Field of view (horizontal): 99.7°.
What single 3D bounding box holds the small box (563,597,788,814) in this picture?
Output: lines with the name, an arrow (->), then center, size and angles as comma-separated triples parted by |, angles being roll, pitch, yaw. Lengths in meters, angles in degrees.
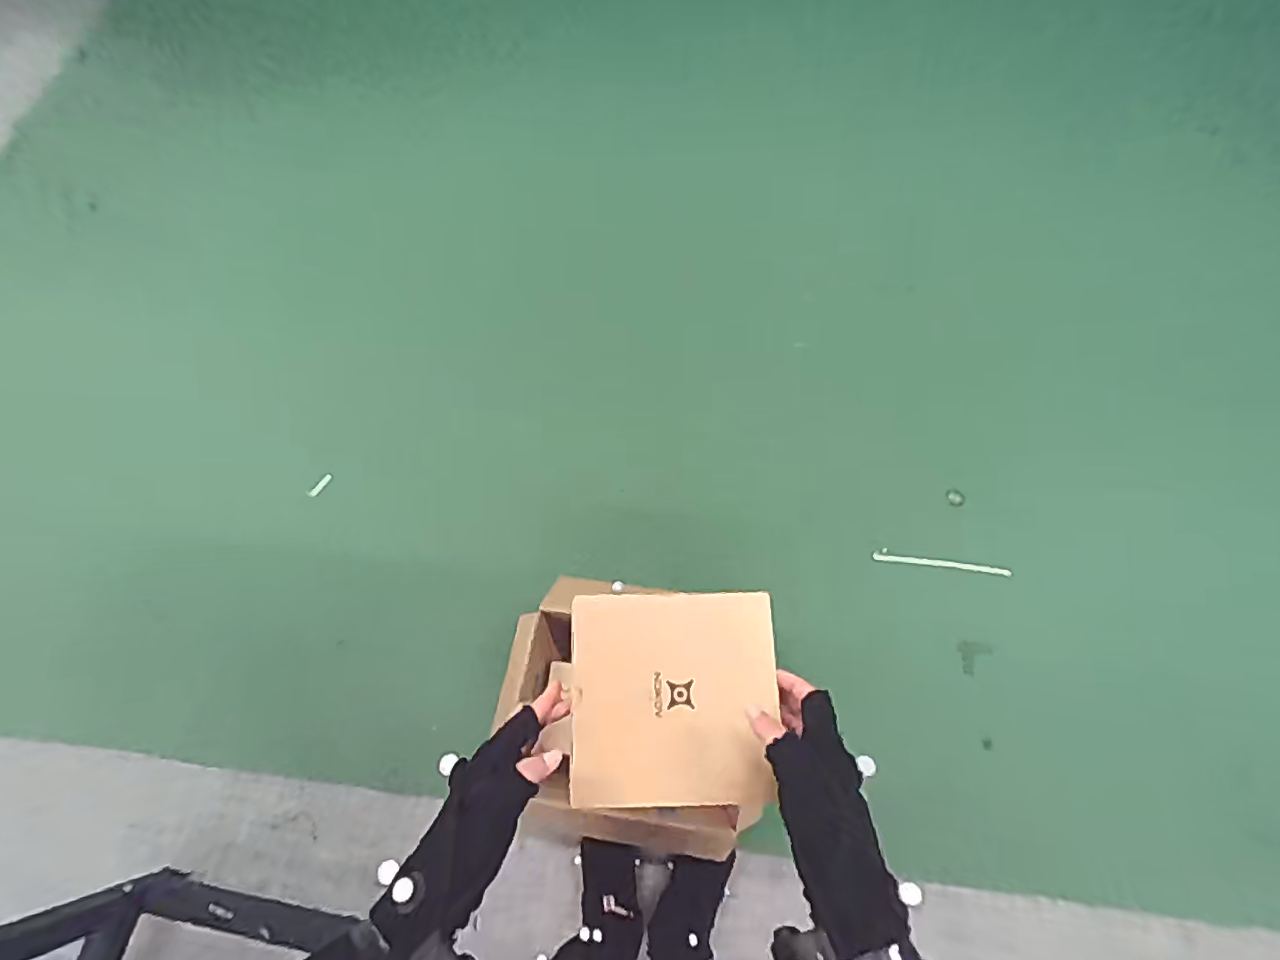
small box -> 0.025, 0.202, 0.514 | 0.179, 0.176, 0.168 | -1, 71, -1
